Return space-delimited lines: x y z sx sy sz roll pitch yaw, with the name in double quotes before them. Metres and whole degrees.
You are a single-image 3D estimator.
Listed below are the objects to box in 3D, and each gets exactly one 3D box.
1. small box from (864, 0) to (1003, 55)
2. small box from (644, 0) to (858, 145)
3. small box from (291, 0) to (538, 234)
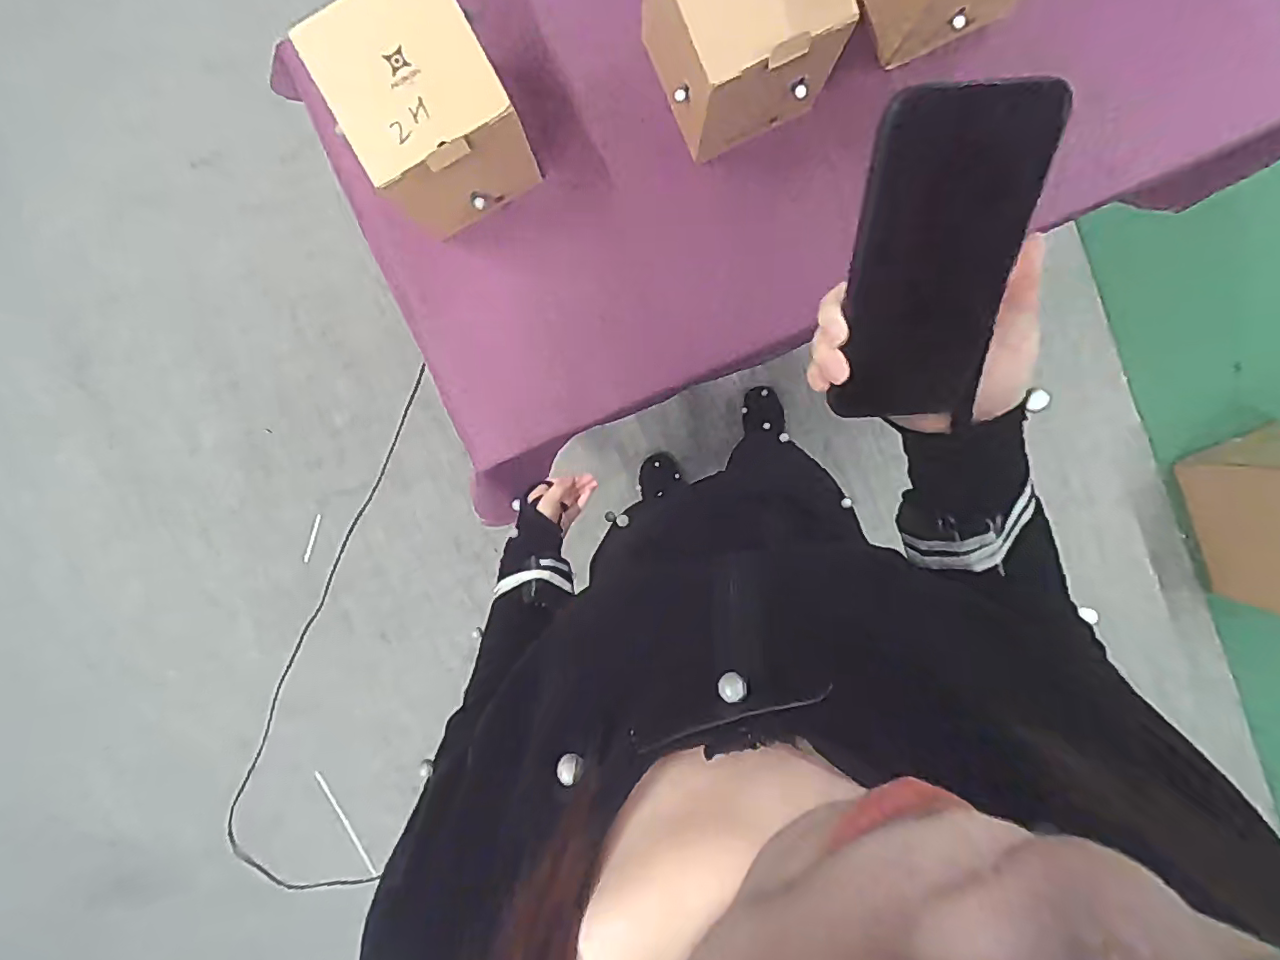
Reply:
"small box" 0.349 -0.635 0.595 0.168 0.176 0.179 -24 96 3
"small box" 0.111 -0.519 0.611 0.168 0.176 0.179 -24 95 3
"small box" -0.240 -0.424 0.624 0.168 0.176 0.179 -28 95 4
